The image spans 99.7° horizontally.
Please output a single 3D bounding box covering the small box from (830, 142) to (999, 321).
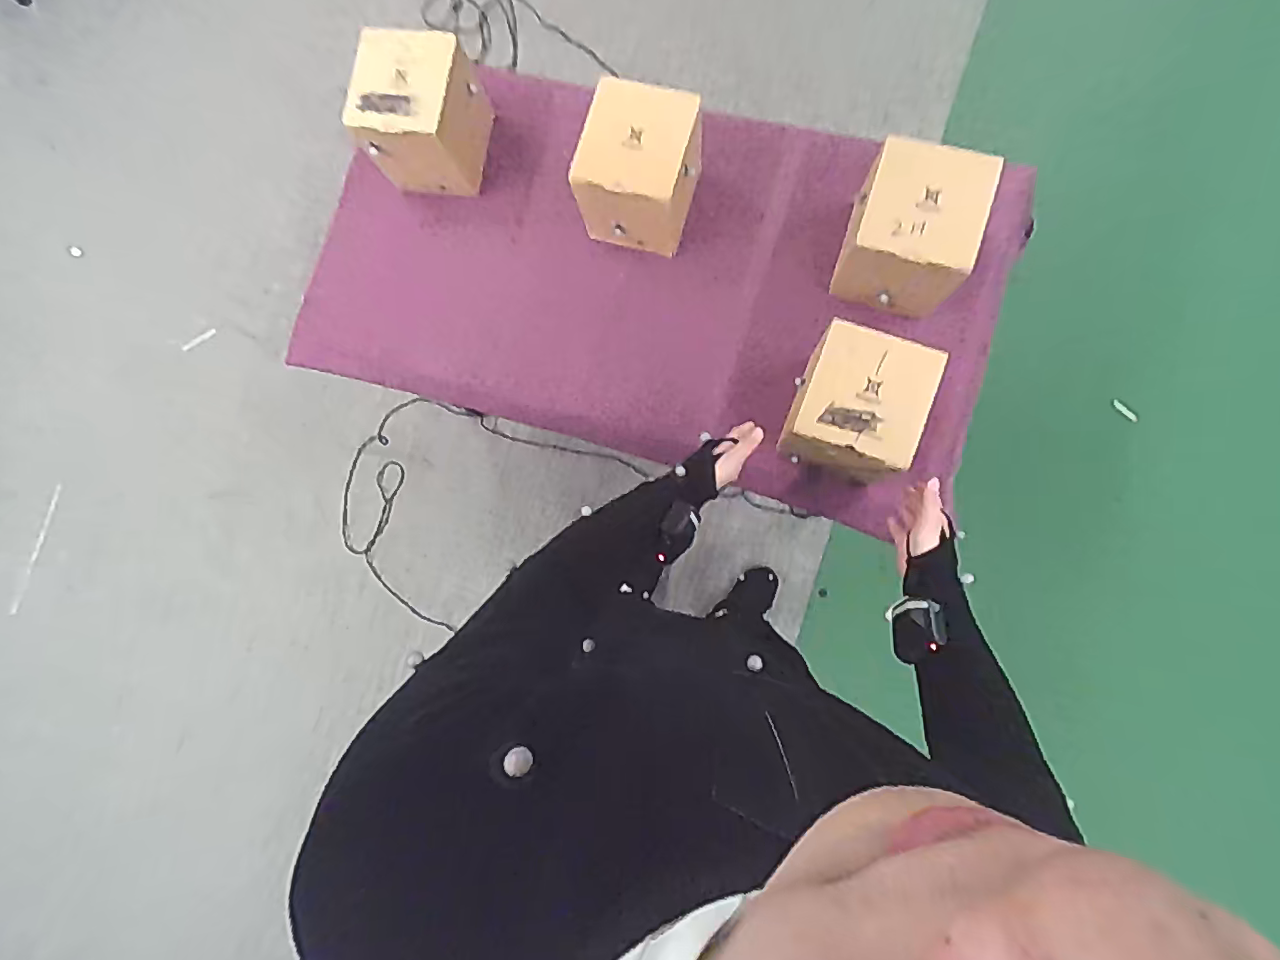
[{"bbox_3d":[0.417,-0.379,0.852,0.168,0.176,0.179,18,87,8],"label":"small box"}]

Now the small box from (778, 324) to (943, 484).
[{"bbox_3d":[0.323,-0.104,0.831,0.168,0.176,0.179,21,85,8],"label":"small box"}]

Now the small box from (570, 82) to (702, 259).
[{"bbox_3d":[-0.001,-0.508,0.908,0.168,0.176,0.179,17,87,7],"label":"small box"}]
